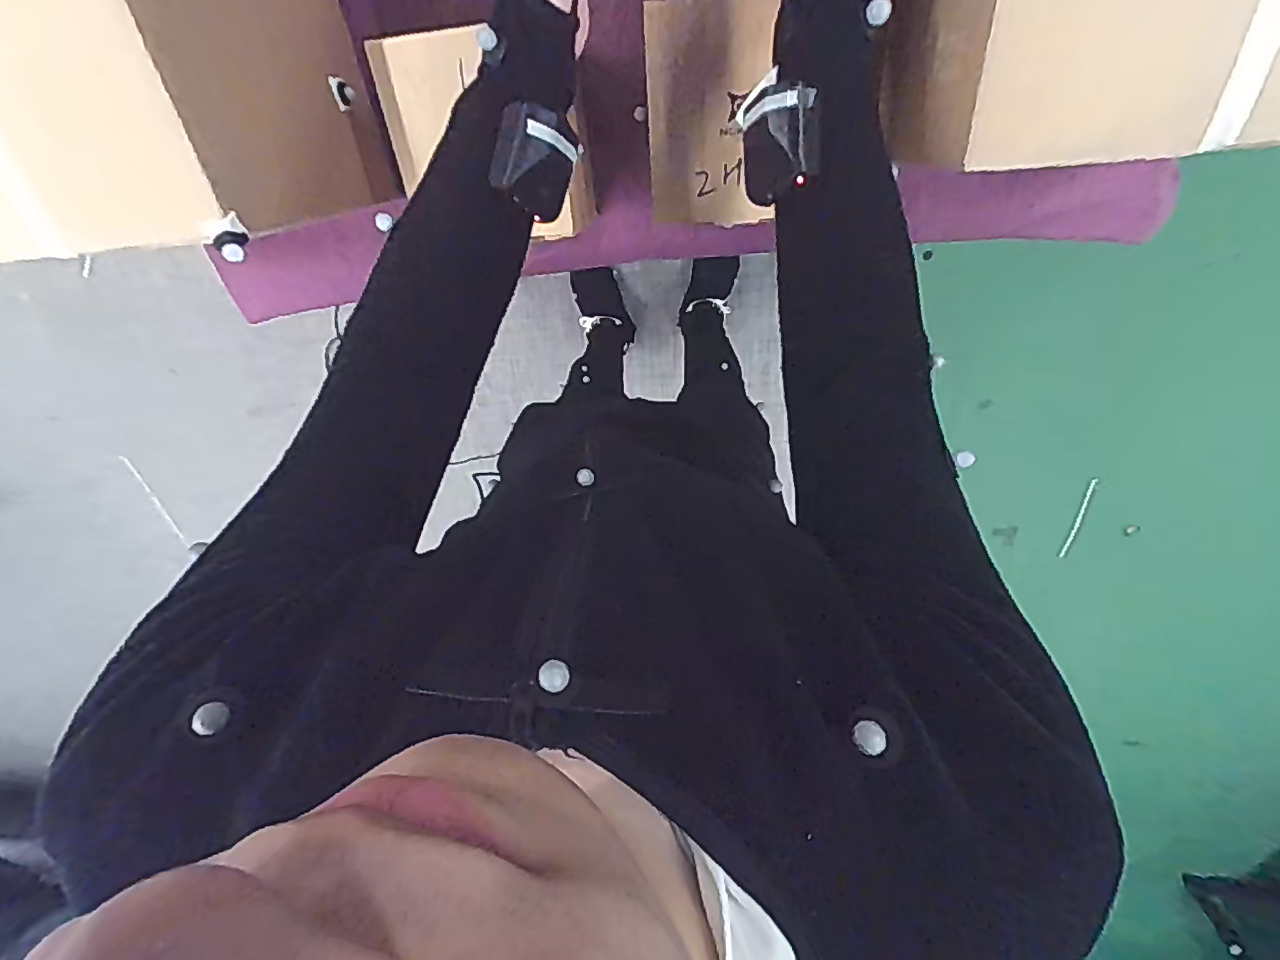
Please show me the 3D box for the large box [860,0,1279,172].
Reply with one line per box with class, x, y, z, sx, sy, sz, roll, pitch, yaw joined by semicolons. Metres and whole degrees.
large box;0.376;-0.475;0.385;0.320;0.320;0.408;-2;123;6
